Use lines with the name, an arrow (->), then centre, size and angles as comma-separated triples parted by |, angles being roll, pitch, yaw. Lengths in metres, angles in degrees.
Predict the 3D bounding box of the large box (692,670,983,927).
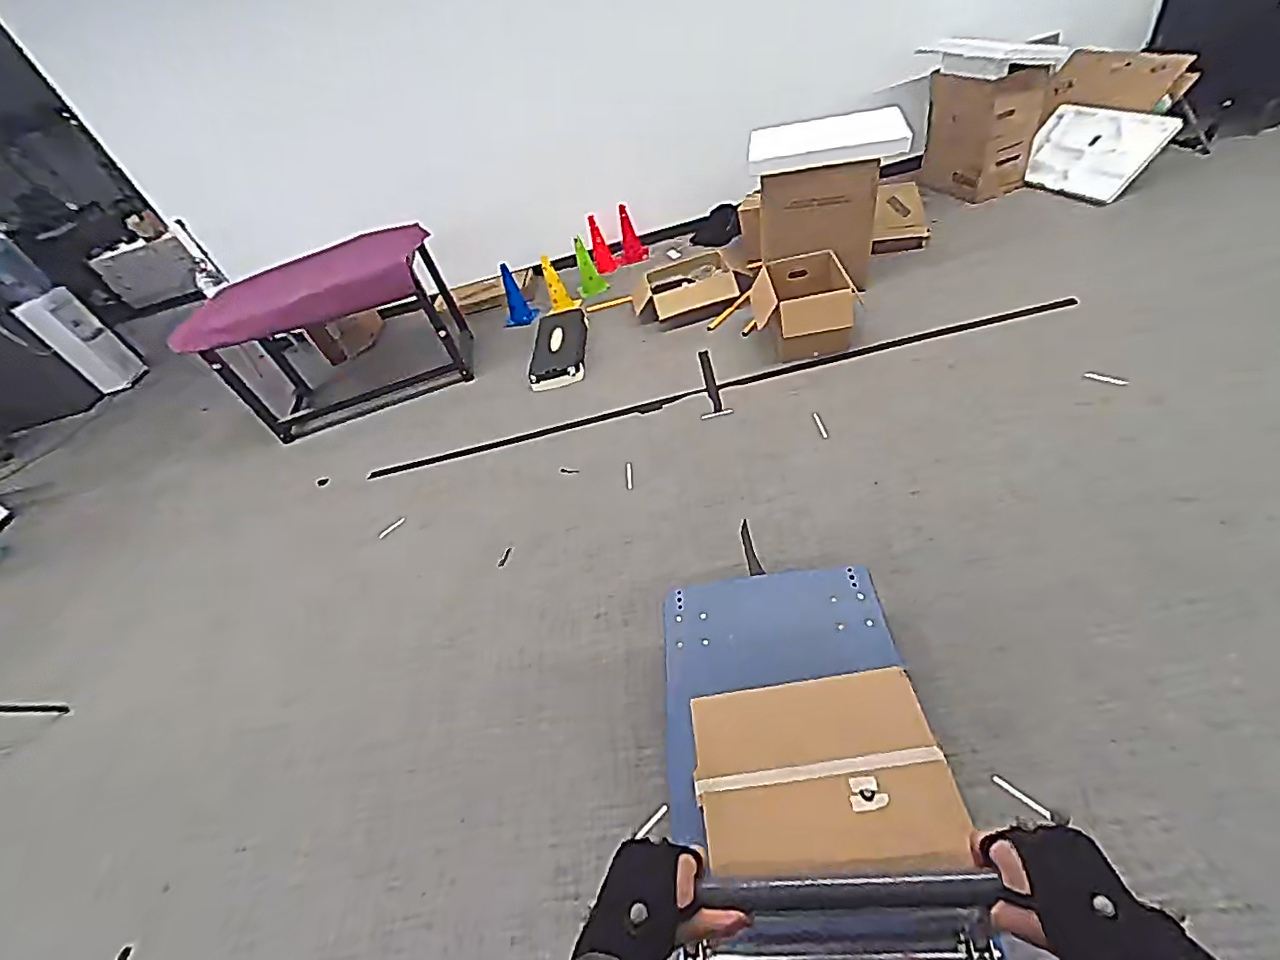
large box -> 0.334, 0.604, 1.020 | 0.408, 0.320, 0.320 | -11, 44, 6
